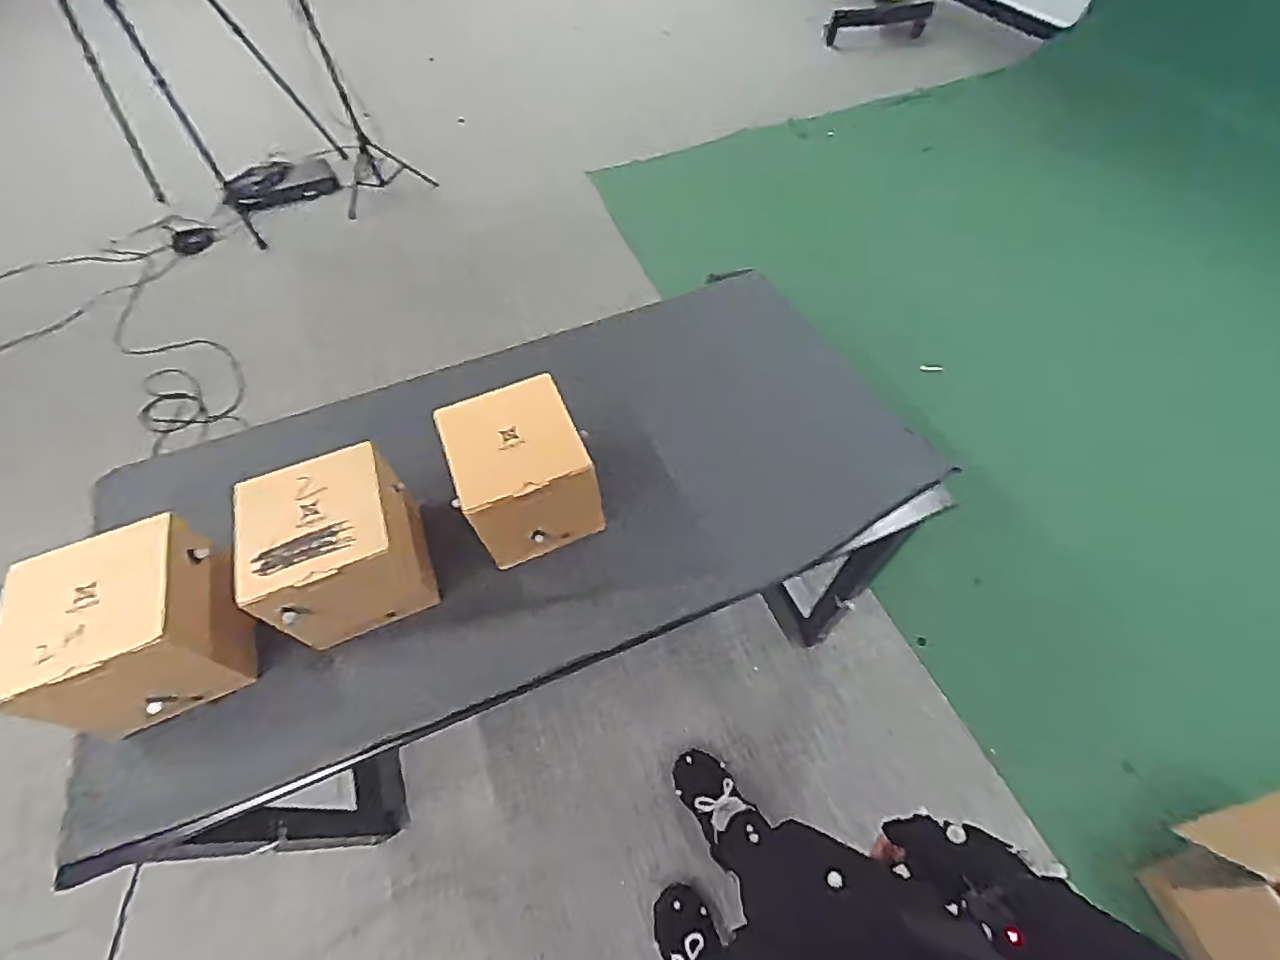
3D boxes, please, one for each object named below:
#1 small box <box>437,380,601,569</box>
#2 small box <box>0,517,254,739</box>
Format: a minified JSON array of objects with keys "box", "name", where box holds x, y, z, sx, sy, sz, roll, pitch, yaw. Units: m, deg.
[{"box":[-0.164,-0.005,0.764,0.168,0.176,0.179,-22,59,-12],"name":"small box"},{"box":[-0.601,0.181,0.651,0.168,0.176,0.179,-22,58,-13],"name":"small box"}]
